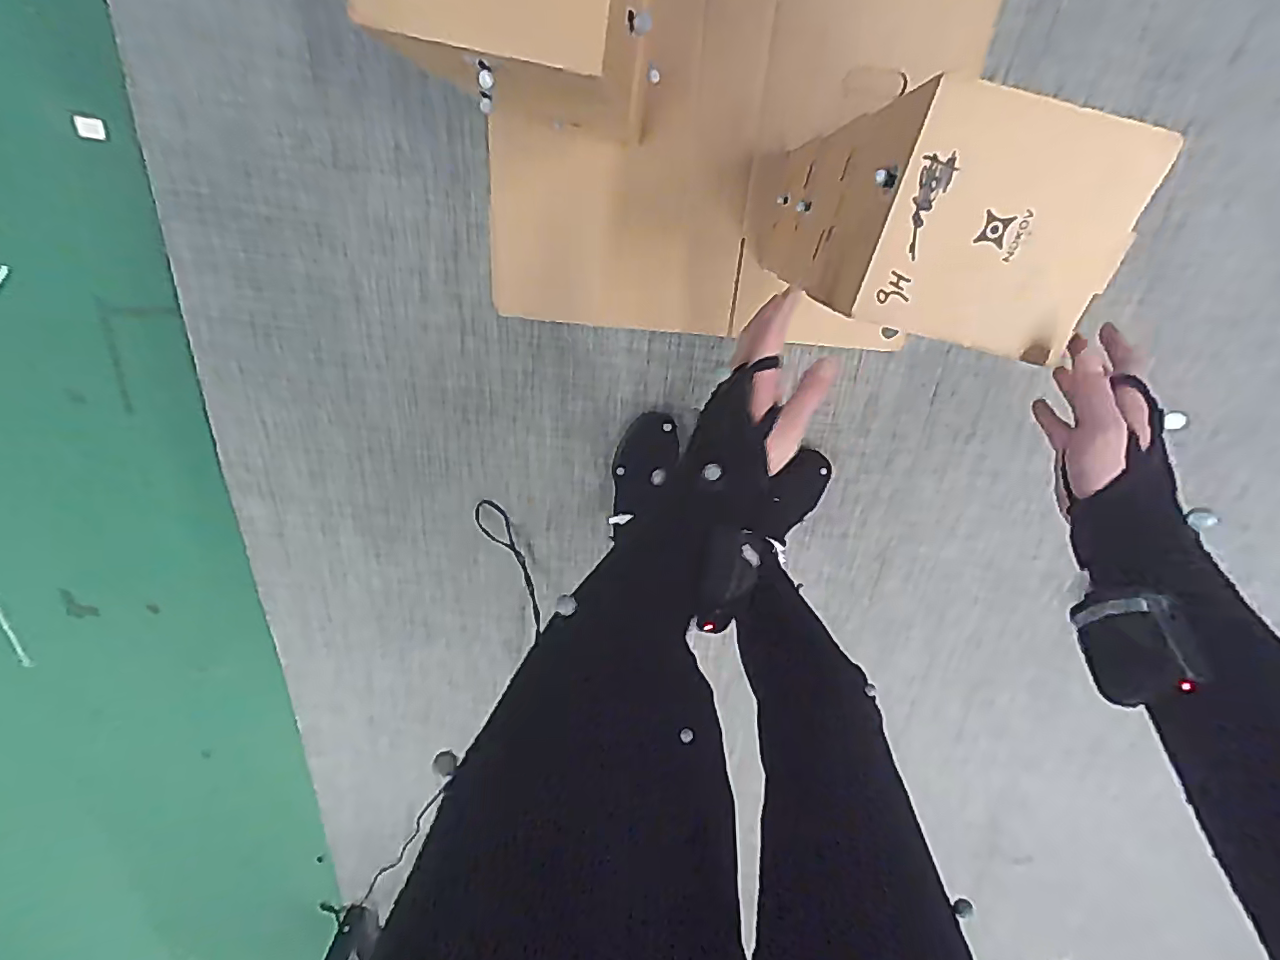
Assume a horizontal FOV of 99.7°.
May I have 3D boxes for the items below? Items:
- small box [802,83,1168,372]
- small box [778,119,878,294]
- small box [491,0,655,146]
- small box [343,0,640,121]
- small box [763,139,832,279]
[{"bbox_3d":[0.266,-0.212,0.471,0.179,0.176,0.168,13,115,-3],"label":"small box"},{"bbox_3d":[0.277,-0.284,0.618,0.179,0.176,0.168,14,115,-2],"label":"small box"},{"bbox_3d":[-0.080,-0.546,0.698,0.179,0.176,0.168,9,116,-1],"label":"small box"},{"bbox_3d":[-0.096,-0.391,0.408,0.179,0.176,0.168,11,117,0],"label":"small box"},{"bbox_3d":[0.288,-0.362,0.763,0.179,0.176,0.168,10,115,0],"label":"small box"}]
